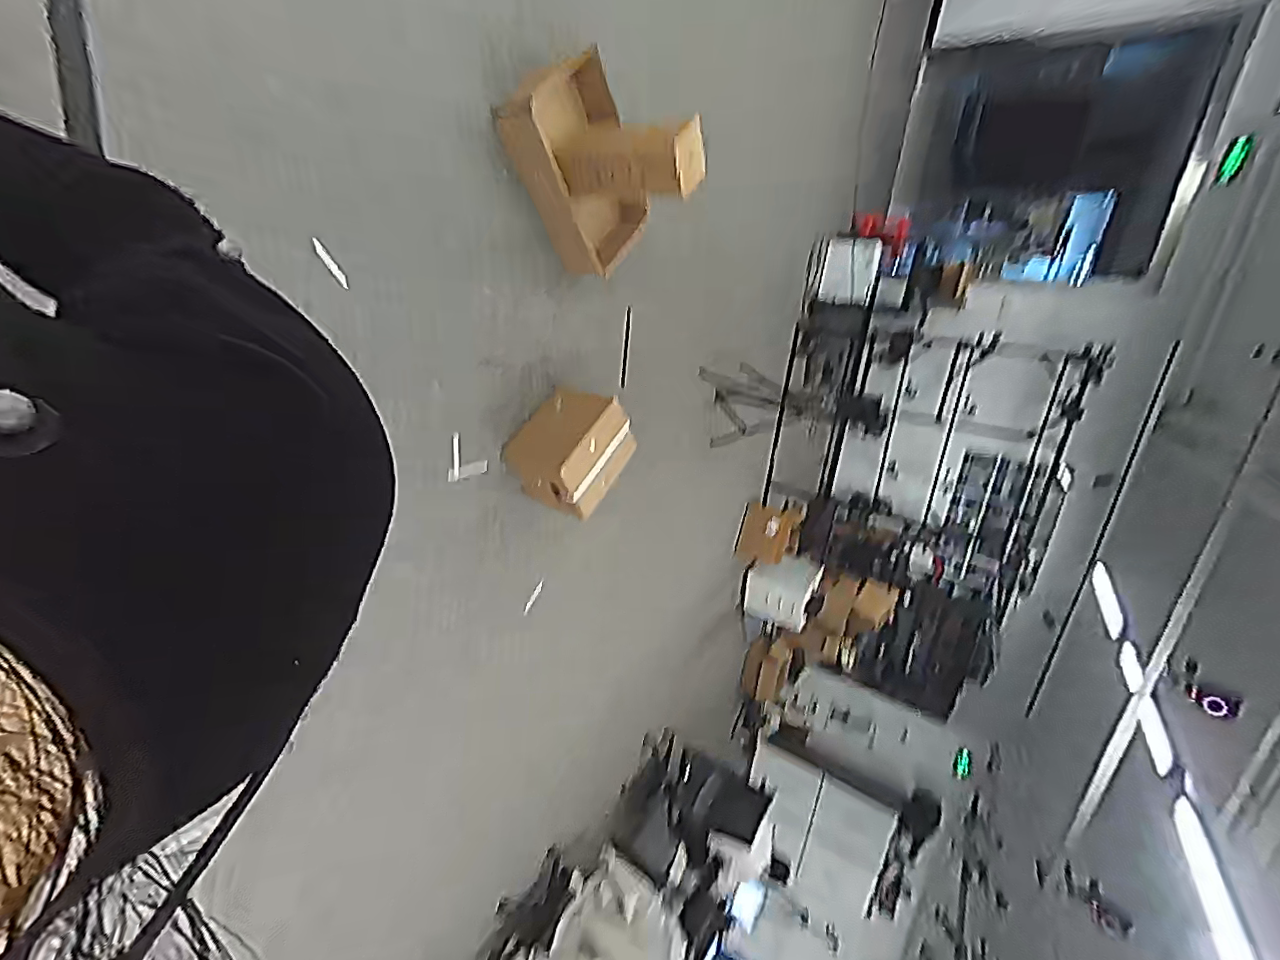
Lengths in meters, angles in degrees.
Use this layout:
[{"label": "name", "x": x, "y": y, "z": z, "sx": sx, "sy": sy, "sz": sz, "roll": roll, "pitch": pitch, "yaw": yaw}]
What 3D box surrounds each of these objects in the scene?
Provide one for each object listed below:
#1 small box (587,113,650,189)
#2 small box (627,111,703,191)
[{"label": "small box", "x": -0.059, "y": -1.103, "z": 1.822, "sx": 0.179, "sy": 0.176, "sz": 0.168, "roll": -57, "pitch": 148, "yaw": -26}, {"label": "small box", "x": 0.083, "y": -1.064, "z": 1.751, "sx": 0.179, "sy": 0.176, "sz": 0.168, "roll": -58, "pitch": 148, "yaw": -25}]
